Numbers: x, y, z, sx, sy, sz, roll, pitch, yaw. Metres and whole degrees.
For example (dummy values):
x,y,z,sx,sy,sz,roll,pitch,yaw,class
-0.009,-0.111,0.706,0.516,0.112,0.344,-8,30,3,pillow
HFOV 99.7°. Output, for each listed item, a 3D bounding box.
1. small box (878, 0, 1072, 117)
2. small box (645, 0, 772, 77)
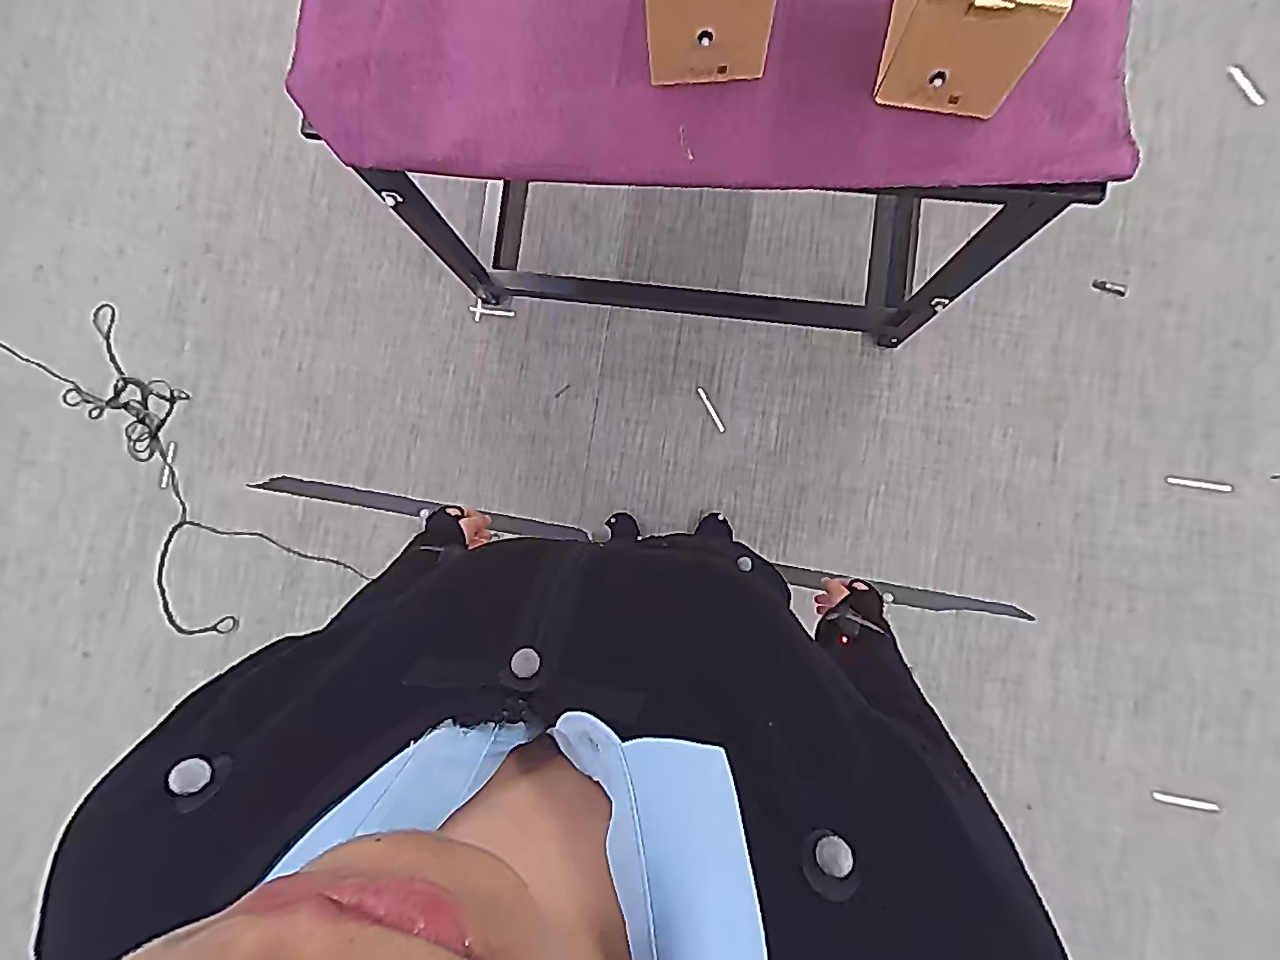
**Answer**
x,y,z,sx,sy,sz,roll,pitch,yaw,class
0.432,-0.625,0.704,0.168,0.176,0.179,12,86,6,small box
0.093,-0.687,0.735,0.168,0.176,0.179,-1,86,4,small box
